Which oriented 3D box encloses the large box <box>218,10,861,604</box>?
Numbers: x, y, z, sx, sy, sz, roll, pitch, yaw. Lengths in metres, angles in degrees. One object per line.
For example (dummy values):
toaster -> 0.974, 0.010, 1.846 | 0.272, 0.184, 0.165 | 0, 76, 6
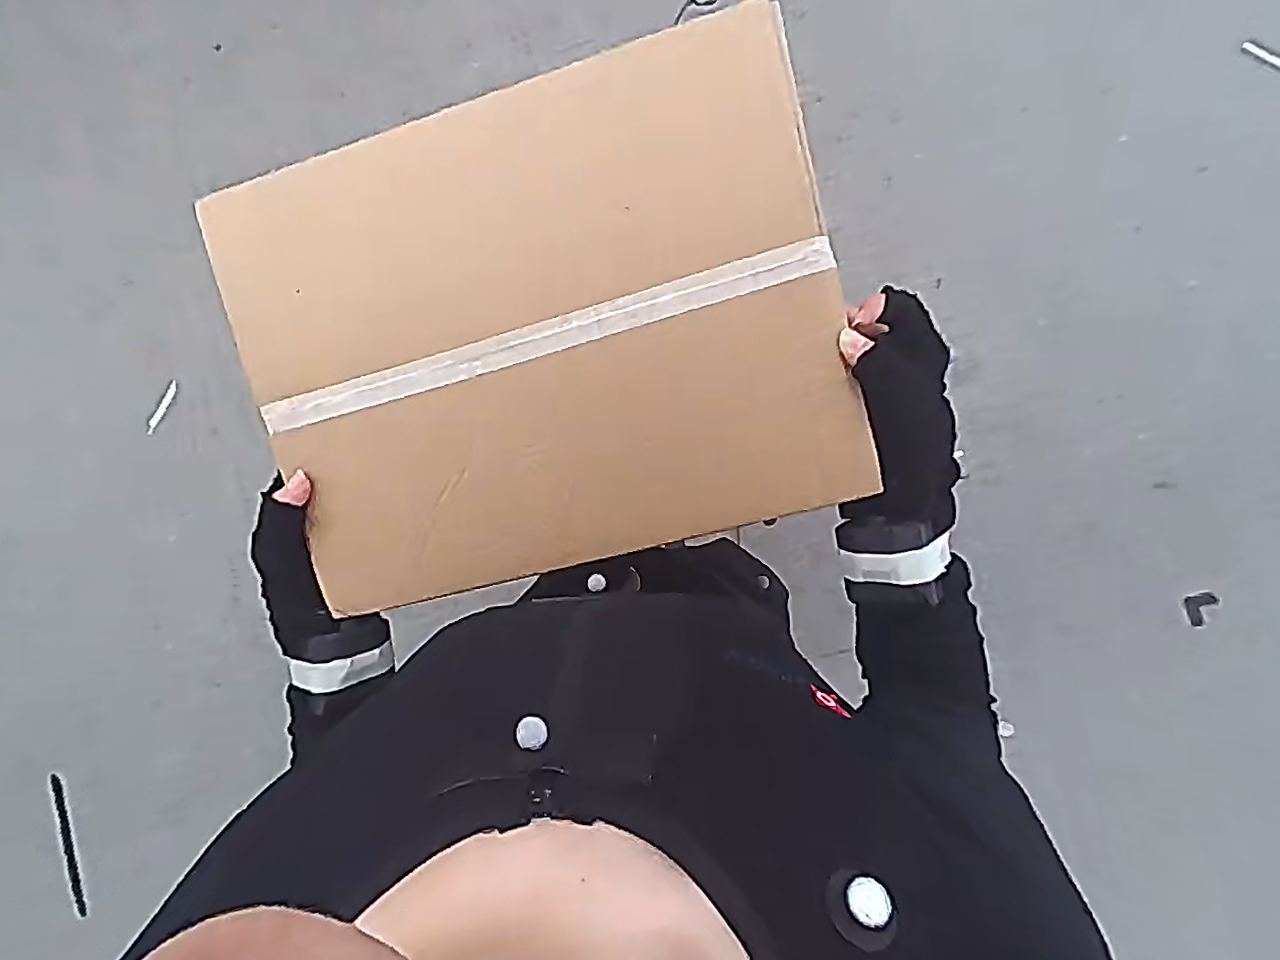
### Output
large box -> -0.060, -0.120, 0.524 | 0.408, 0.320, 0.320 | -14, 95, 8
